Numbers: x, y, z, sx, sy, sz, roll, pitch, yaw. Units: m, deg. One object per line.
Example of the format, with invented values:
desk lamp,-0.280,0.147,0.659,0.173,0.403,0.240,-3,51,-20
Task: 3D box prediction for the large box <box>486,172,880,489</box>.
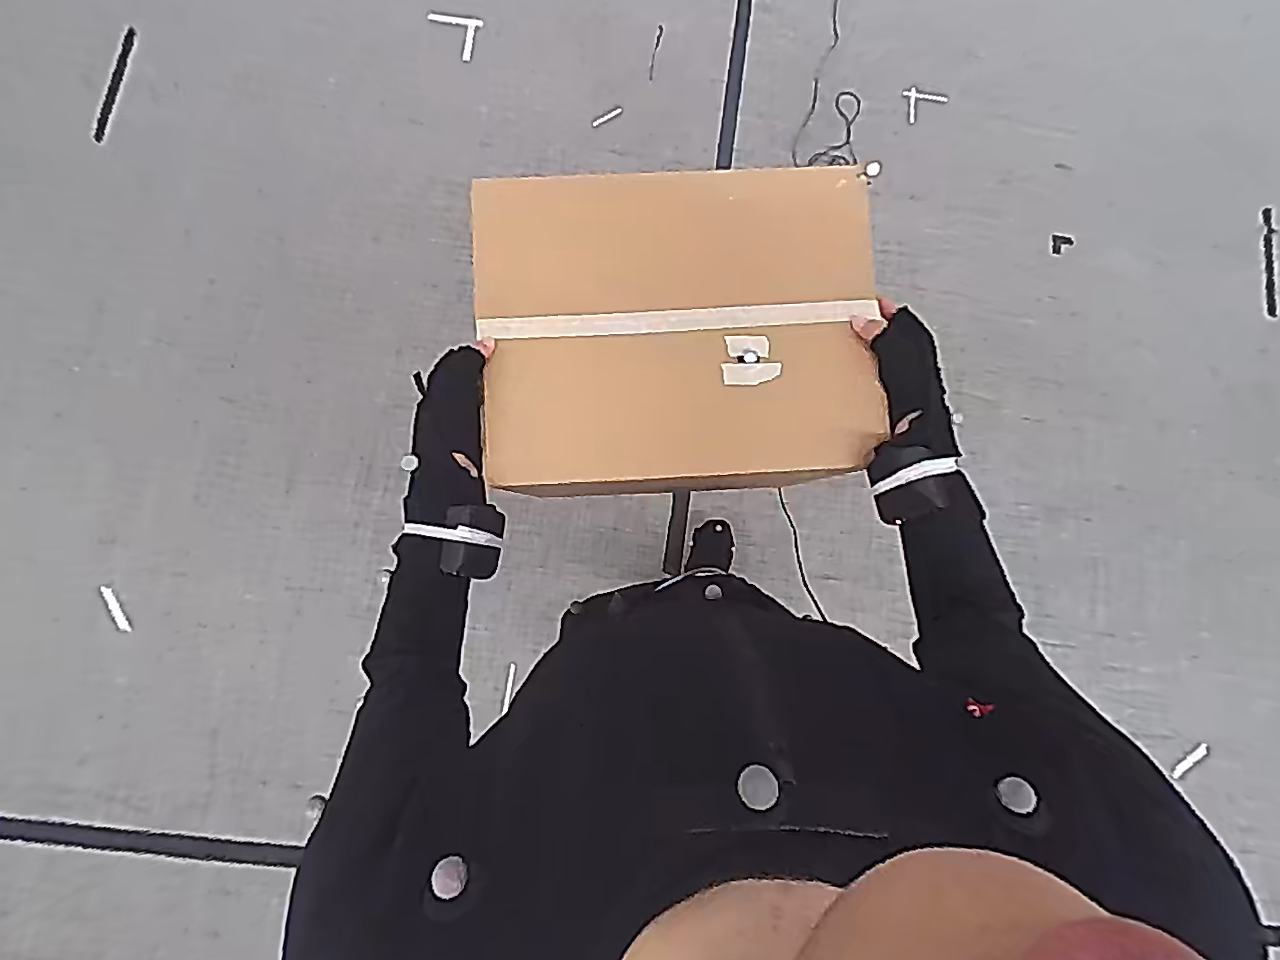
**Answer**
large box,0.038,-0.157,0.707,0.408,0.320,0.320,-2,87,-2
